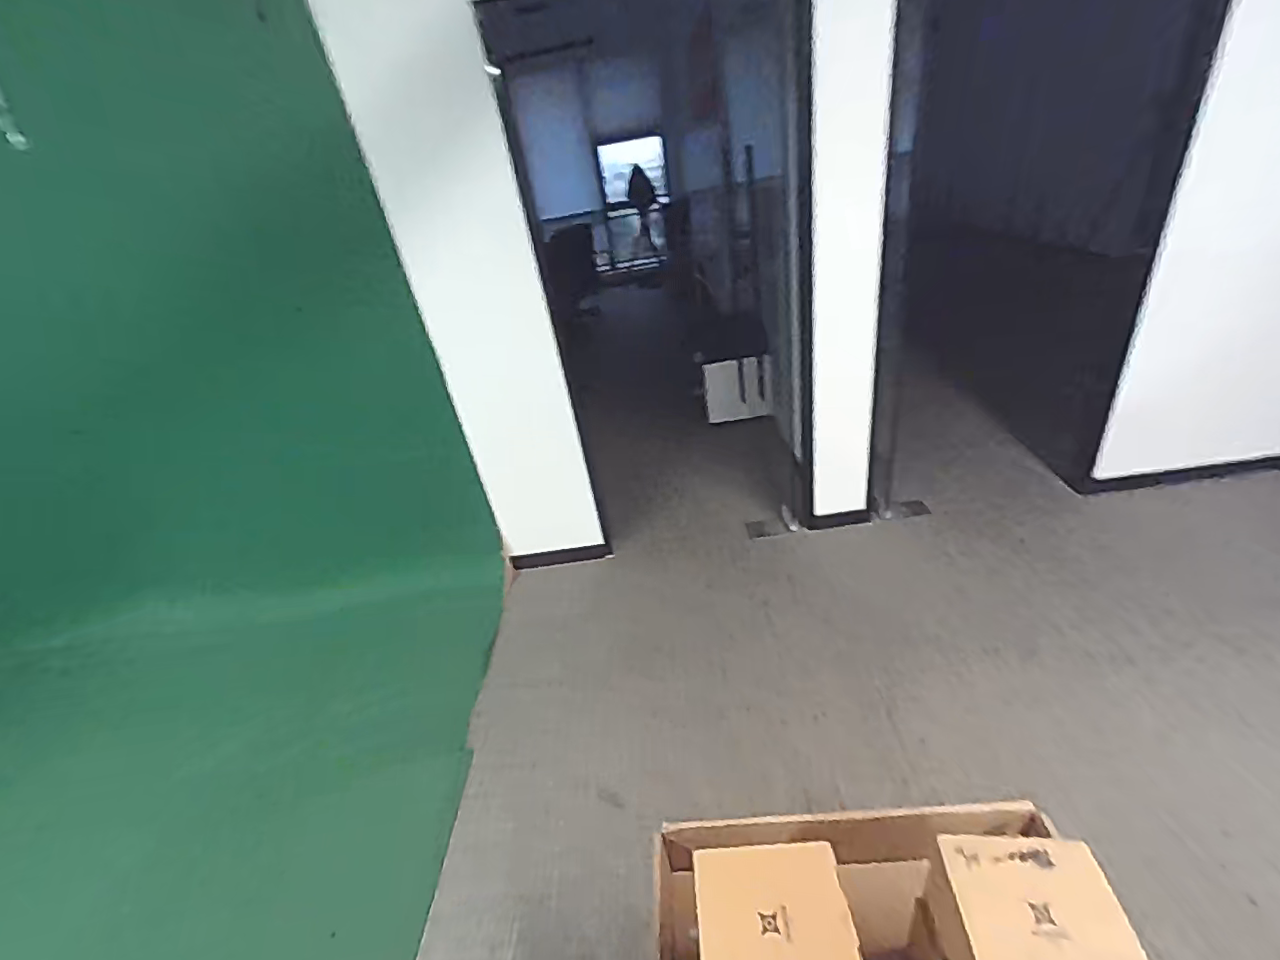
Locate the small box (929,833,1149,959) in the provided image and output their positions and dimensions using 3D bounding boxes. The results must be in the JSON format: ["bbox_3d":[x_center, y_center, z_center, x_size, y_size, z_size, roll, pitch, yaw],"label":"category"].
[{"bbox_3d":[0.447,0.541,0.616,0.168,0.176,0.179,-4,32,12],"label":"small box"}]

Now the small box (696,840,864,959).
[{"bbox_3d":[0.169,0.574,0.658,0.179,0.176,0.168,-7,30,5],"label":"small box"}]
